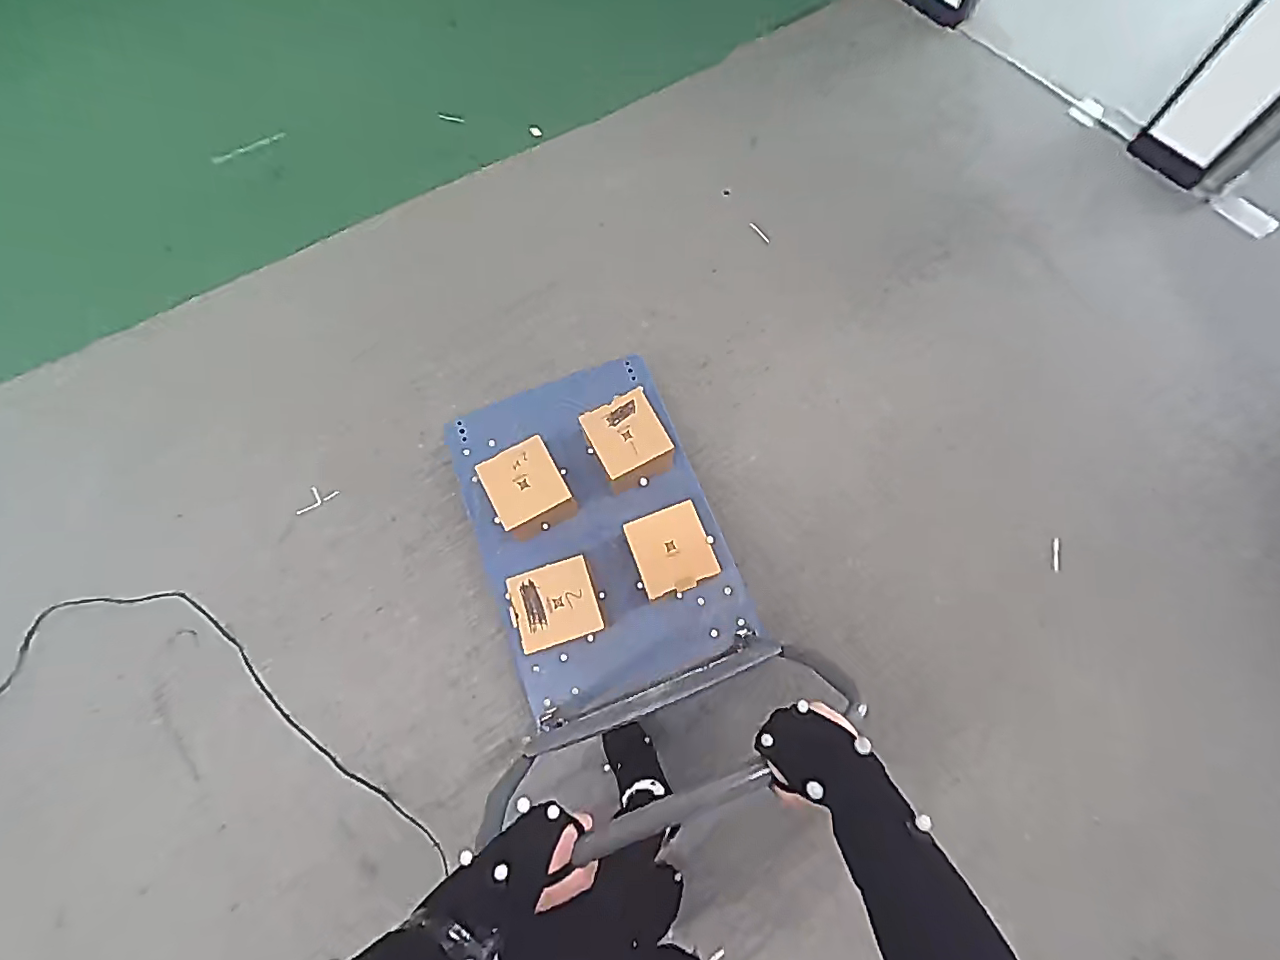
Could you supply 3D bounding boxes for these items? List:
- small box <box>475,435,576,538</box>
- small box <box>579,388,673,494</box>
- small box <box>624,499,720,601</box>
[{"bbox_3d":[-0.266,0.026,1.297,0.168,0.176,0.179,-28,75,-8],"label":"small box"},{"bbox_3d":[-0.034,-0.089,1.329,0.168,0.176,0.179,-27,76,-7],"label":"small box"},{"bbox_3d":[0.068,0.168,1.255,0.168,0.176,0.179,-20,75,-5],"label":"small box"}]
